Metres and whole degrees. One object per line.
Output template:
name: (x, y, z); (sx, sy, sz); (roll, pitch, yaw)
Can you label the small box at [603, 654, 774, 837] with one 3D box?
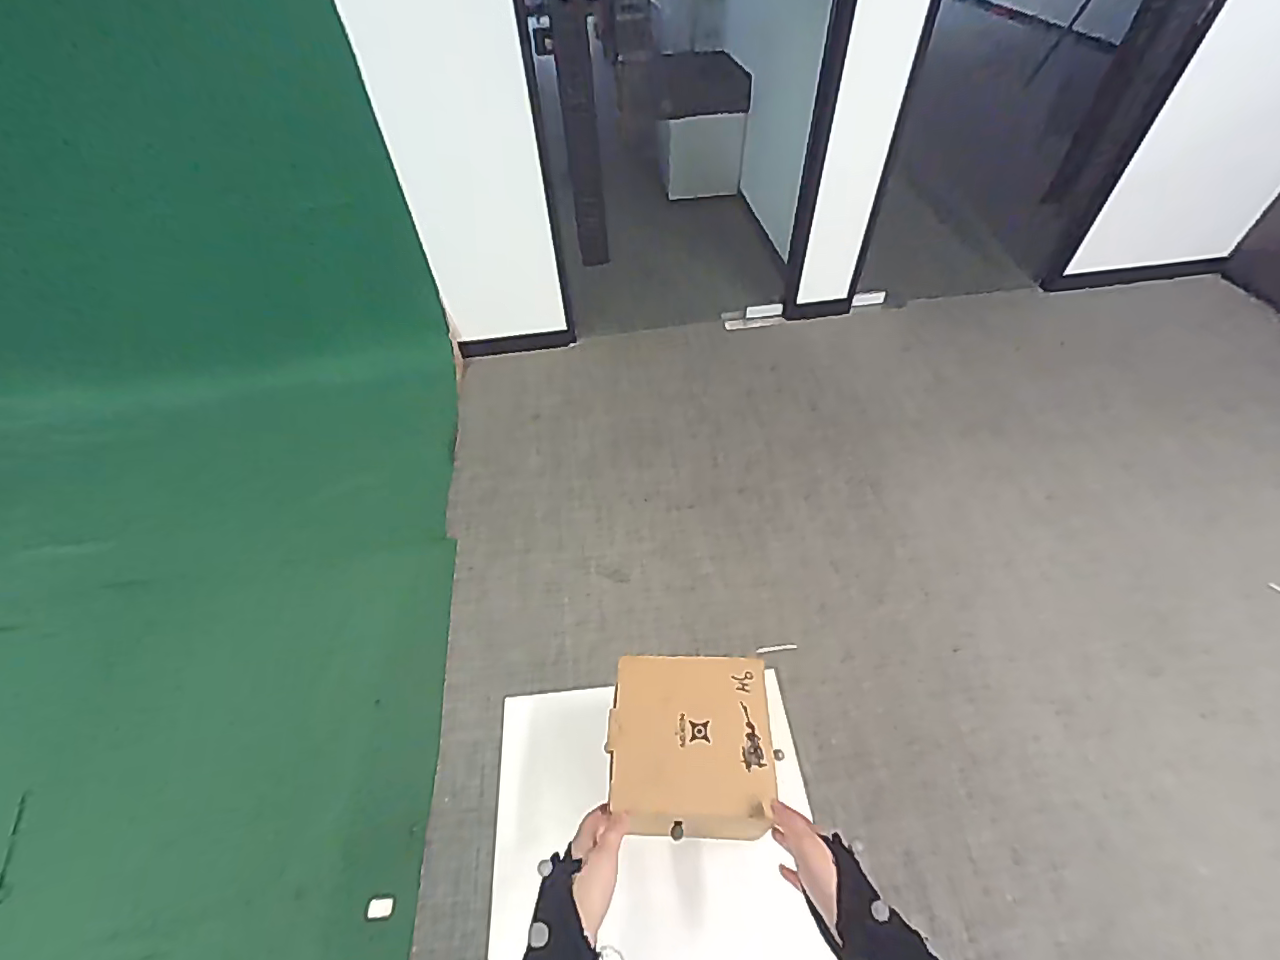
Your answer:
small box: (0.057, 0.324, 0.656); (0.179, 0.176, 0.168); (0, 50, 4)
